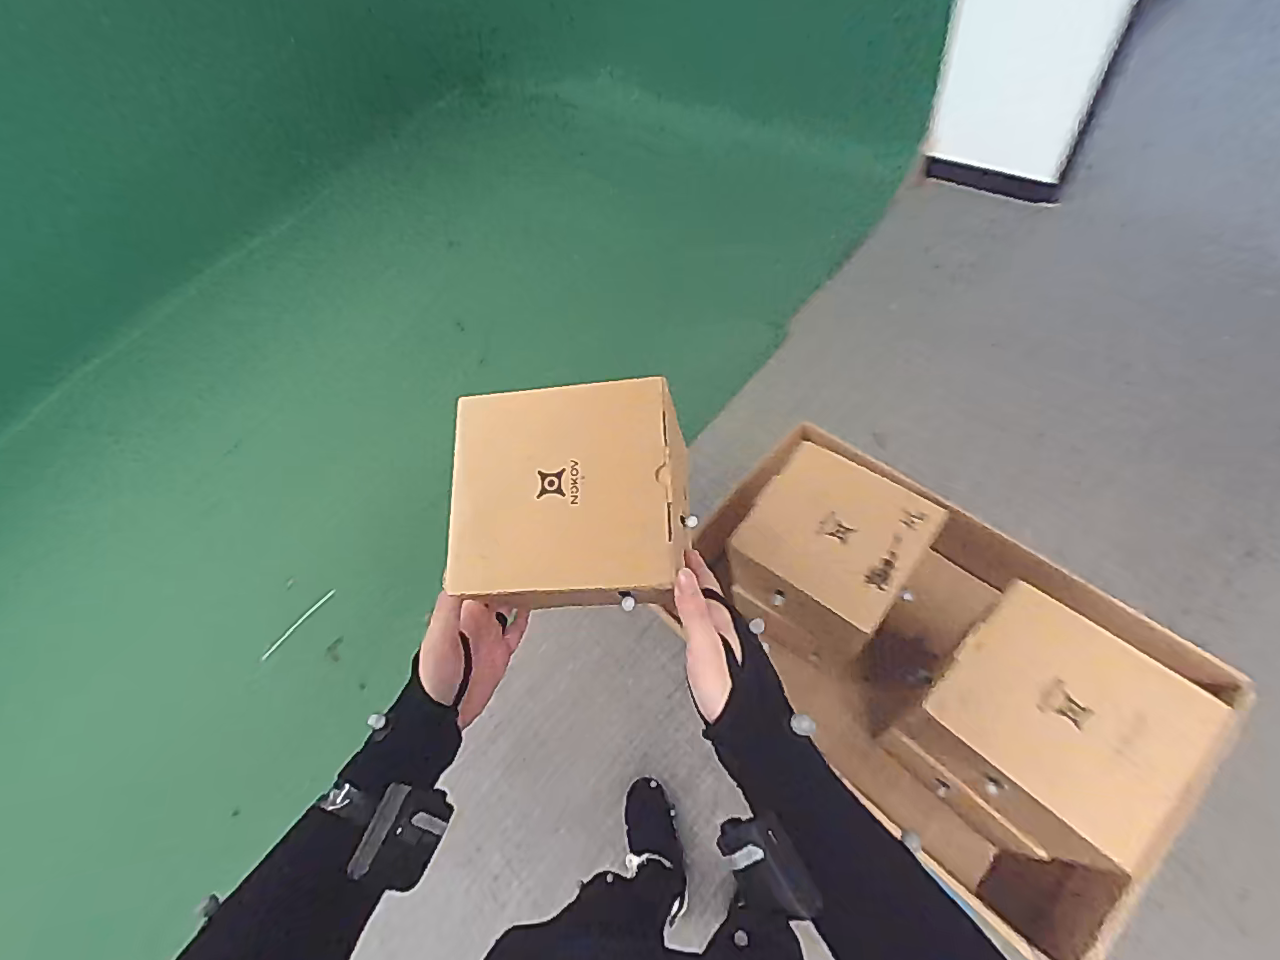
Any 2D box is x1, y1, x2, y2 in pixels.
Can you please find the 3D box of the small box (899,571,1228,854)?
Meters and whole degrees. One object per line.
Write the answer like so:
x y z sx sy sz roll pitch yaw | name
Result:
0.390 0.228 0.540 0.168 0.176 0.179 -44 60 -10 | small box

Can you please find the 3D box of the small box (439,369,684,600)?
-0.057 0.018 0.495 0.179 0.176 0.168 -5 74 7 | small box

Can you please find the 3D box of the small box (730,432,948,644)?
0.232 0.078 0.664 0.179 0.176 0.168 33 75 27 | small box
